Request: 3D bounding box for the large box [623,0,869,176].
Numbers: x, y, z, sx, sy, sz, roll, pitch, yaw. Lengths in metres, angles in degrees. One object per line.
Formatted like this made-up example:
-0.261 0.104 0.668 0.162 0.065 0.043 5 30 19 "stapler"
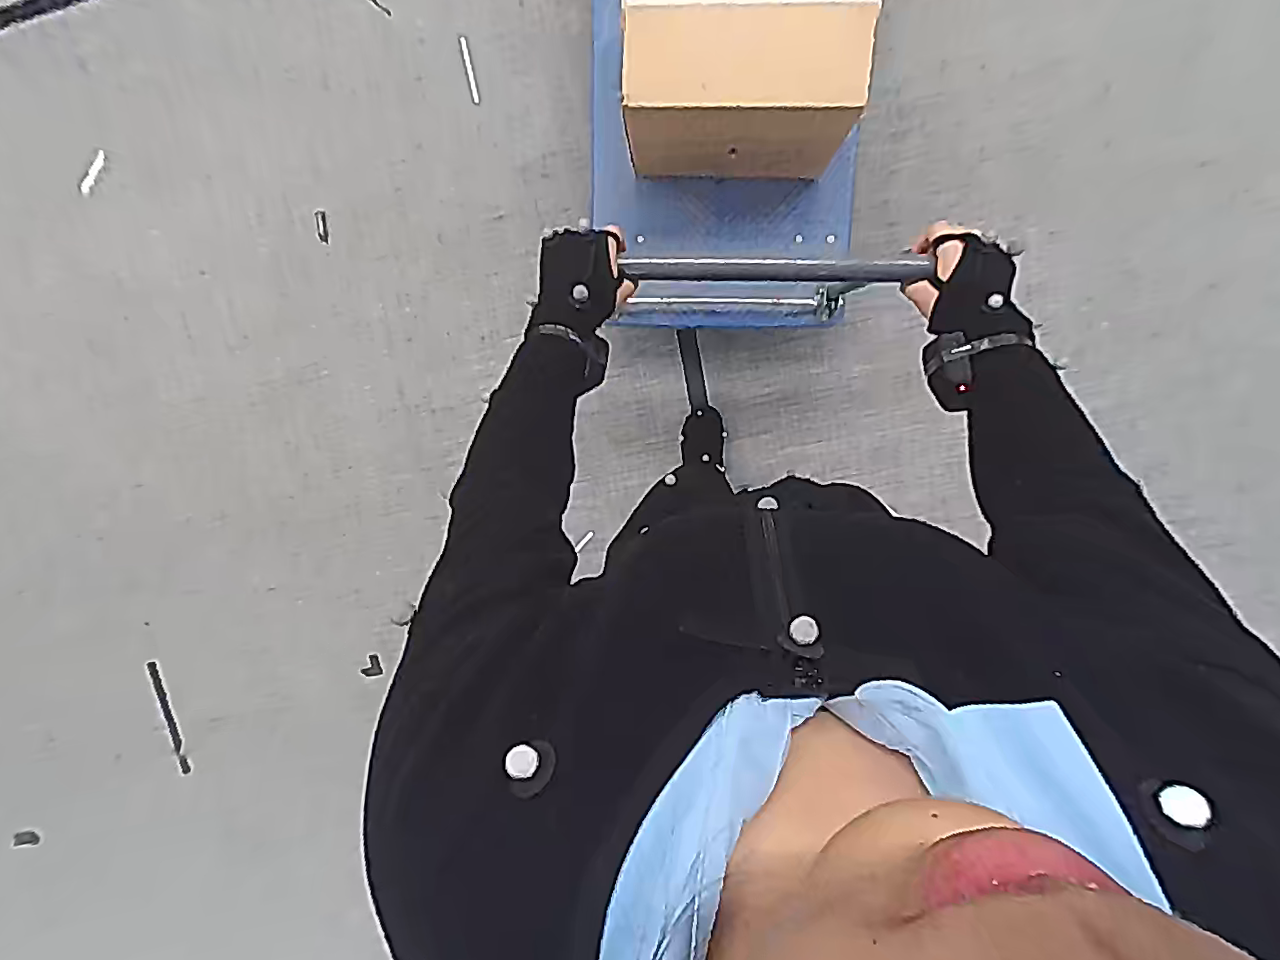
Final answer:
0.187 -0.801 1.029 0.408 0.320 0.320 3 99 5 "large box"
